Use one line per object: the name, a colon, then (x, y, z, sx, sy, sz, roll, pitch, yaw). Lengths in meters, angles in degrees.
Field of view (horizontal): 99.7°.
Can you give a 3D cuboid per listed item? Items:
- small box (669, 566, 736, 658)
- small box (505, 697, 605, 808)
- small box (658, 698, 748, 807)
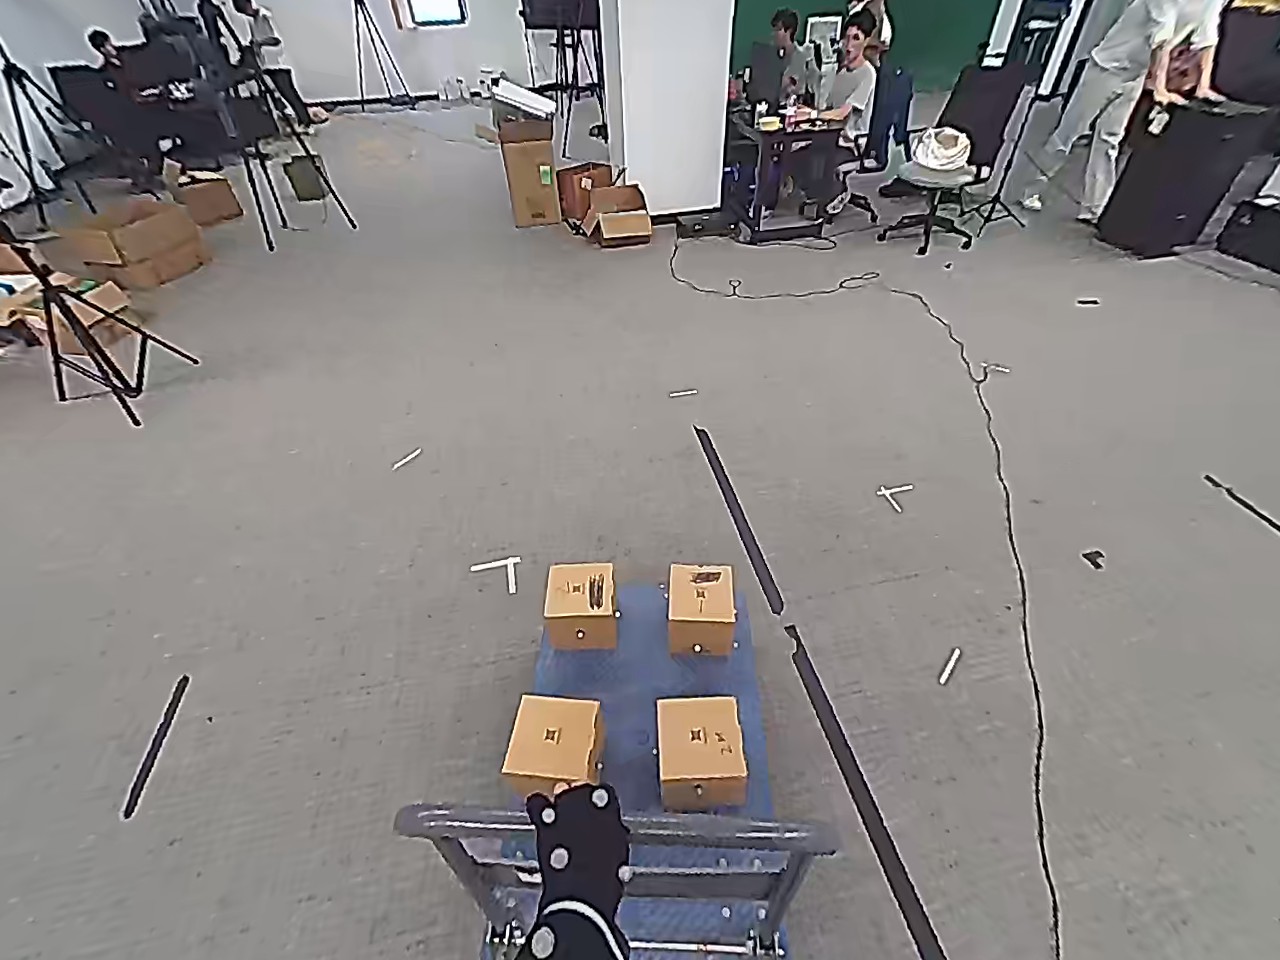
small box: (0.163, 0.352, 1.450, 0.168, 0.176, 0.179, 1, 43, 4)
small box: (-0.177, 0.603, 1.193, 0.179, 0.176, 0.168, 3, 42, 4)
small box: (0.132, 0.597, 1.180, 0.179, 0.176, 0.168, -3, 42, 1)
